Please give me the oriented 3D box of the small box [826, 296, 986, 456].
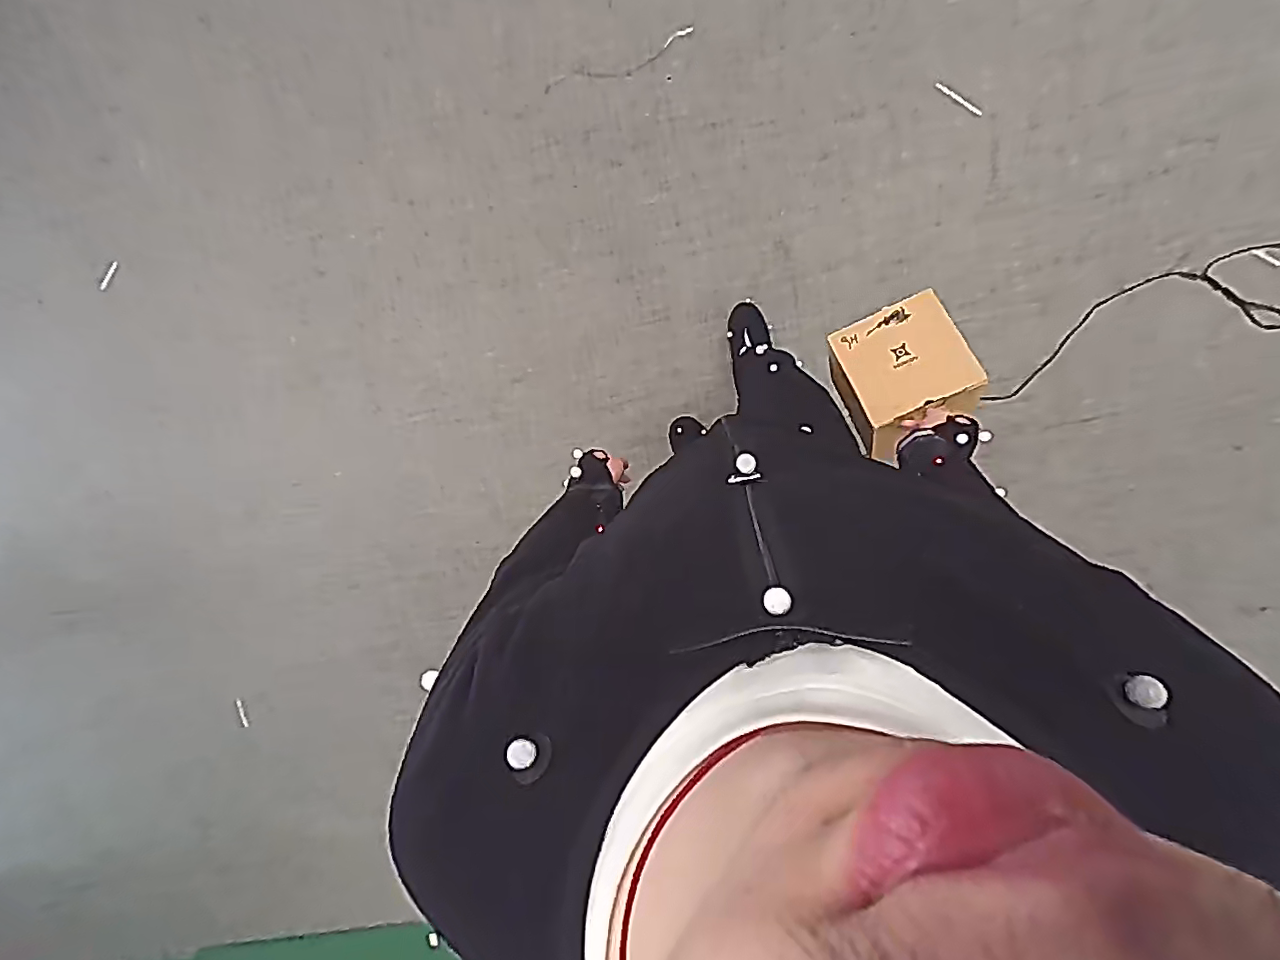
[{"bbox_3d":[0.429,-0.155,0.886,0.168,0.176,0.179,-27,66,16],"label":"small box"}]
